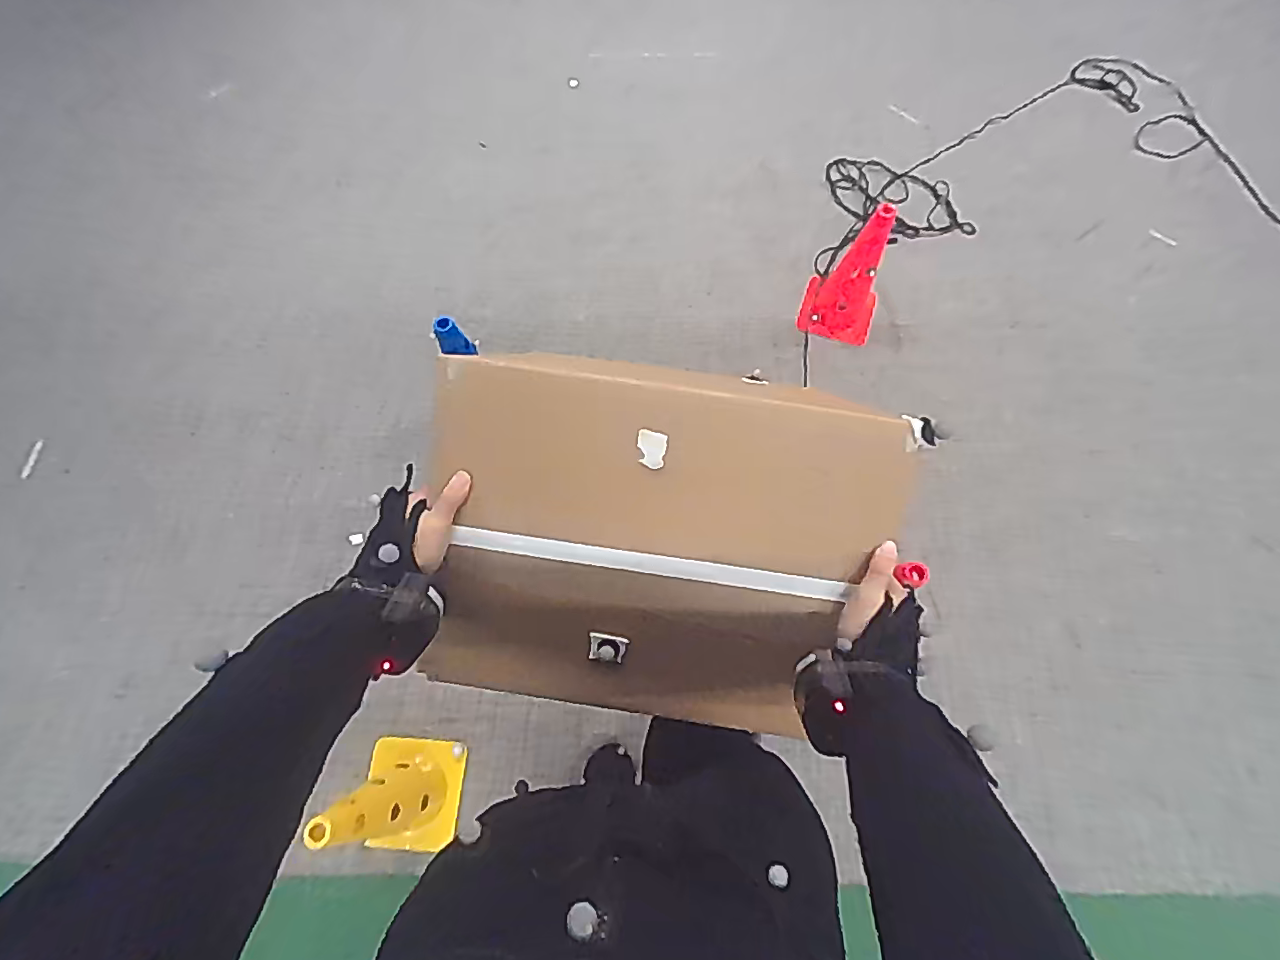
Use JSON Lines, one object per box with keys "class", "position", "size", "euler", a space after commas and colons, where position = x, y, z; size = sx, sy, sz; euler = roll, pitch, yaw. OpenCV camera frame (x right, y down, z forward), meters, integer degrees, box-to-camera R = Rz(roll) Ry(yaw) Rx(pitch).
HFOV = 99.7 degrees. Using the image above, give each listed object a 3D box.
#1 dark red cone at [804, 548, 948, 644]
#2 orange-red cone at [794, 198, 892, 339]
{"class": "dark red cone", "position": [0.474, 0.203, 1.052], "size": [0.202, 0.394, 0.201], "euler": [-6, 71, -2]}
{"class": "orange-red cone", "position": [0.553, -0.561, 1.381], "size": [0.199, 0.360, 0.198], "euler": [20, 71, 7]}
